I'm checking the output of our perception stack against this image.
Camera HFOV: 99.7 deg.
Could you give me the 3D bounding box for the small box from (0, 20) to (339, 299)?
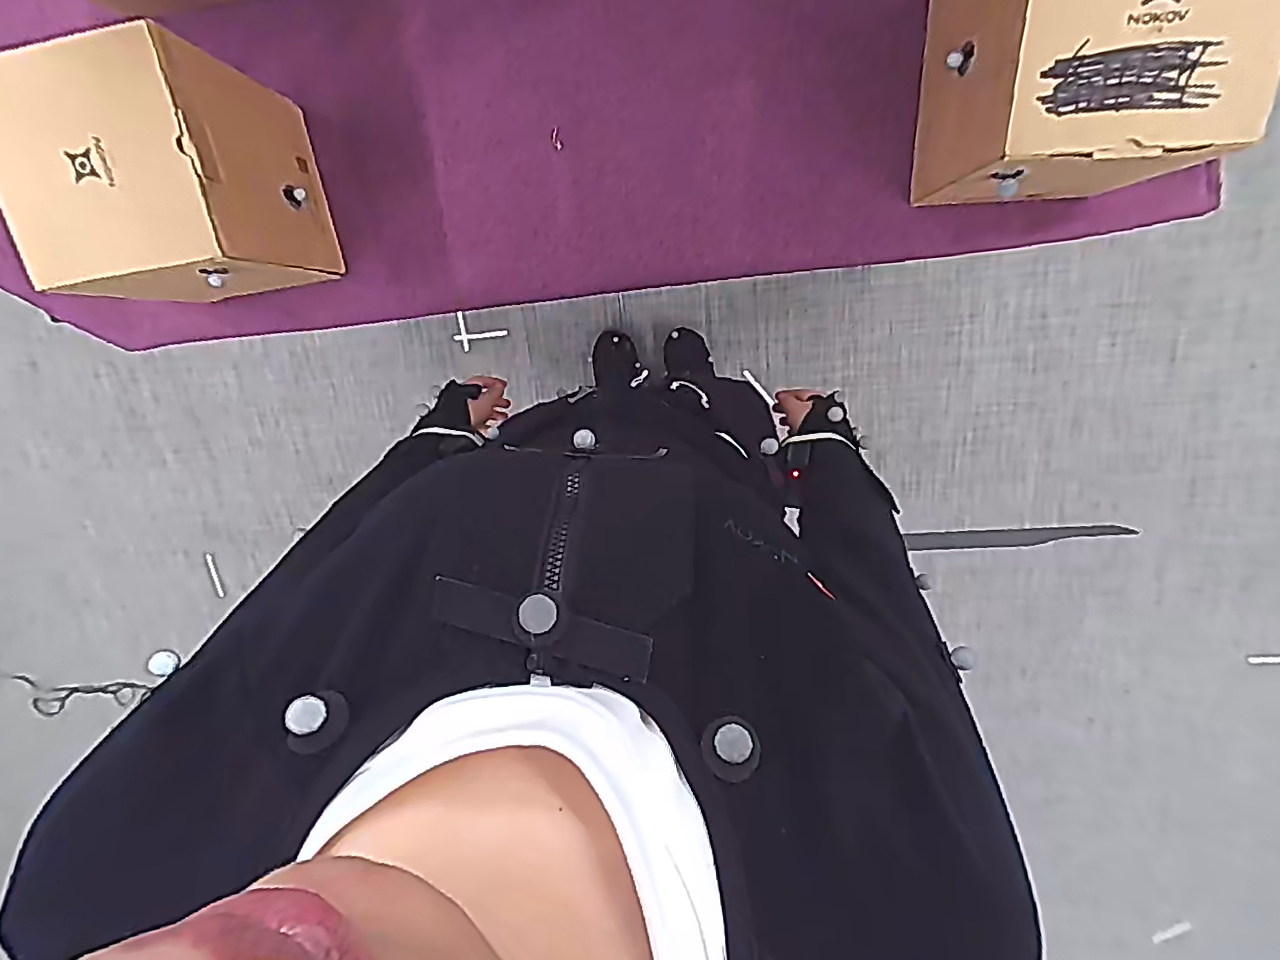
[{"bbox_3d":[-0.425,-0.268,0.499,0.179,0.176,0.168,-8,105,5],"label":"small box"}]
